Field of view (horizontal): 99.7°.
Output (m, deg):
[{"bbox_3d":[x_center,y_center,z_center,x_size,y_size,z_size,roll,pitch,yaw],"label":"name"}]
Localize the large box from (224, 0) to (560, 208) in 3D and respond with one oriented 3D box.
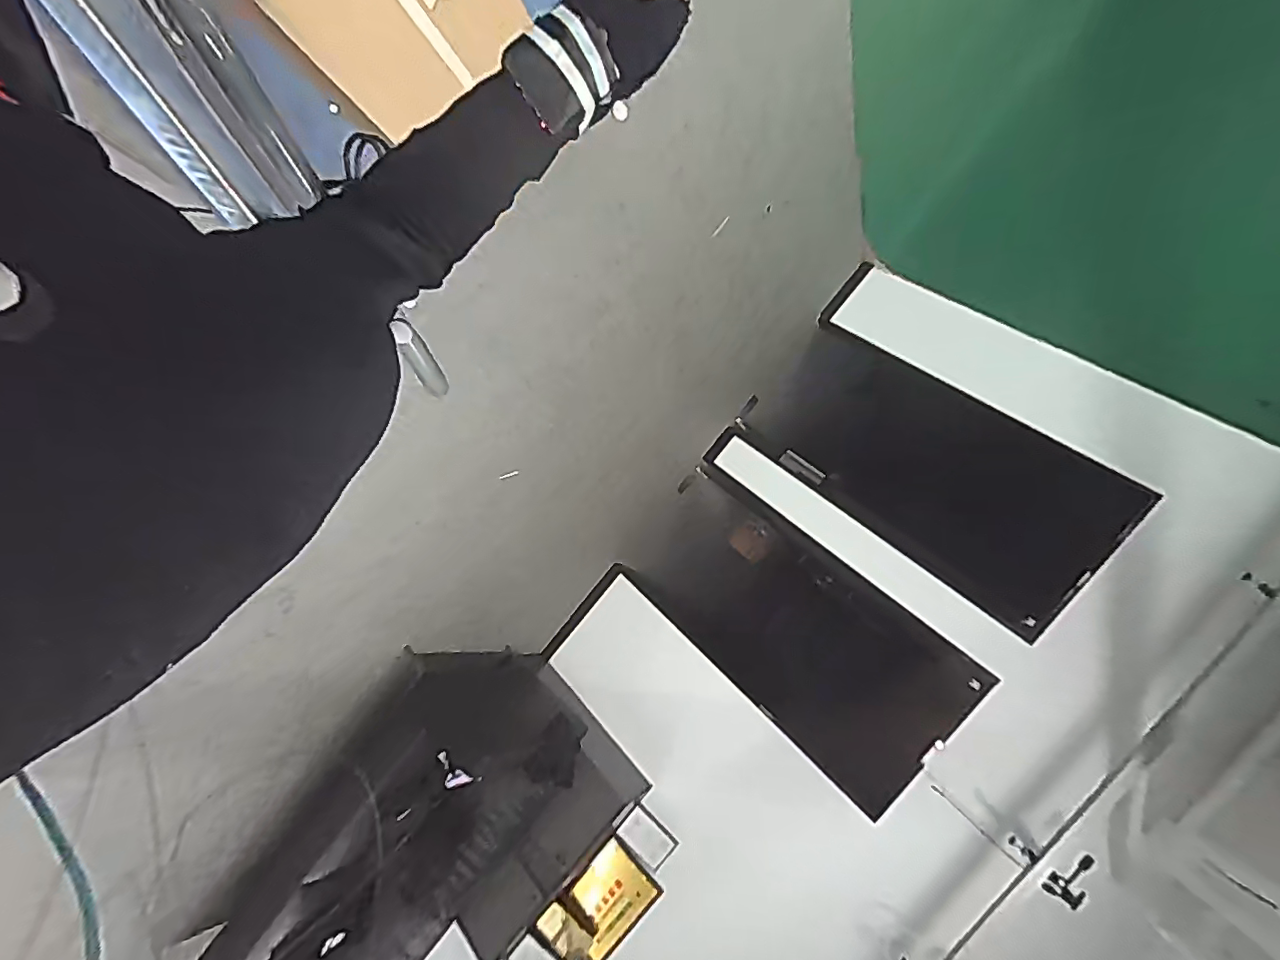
[{"bbox_3d":[-0.419,-0.767,0.920,0.320,0.320,0.408,-51,152,3],"label":"large box"}]
